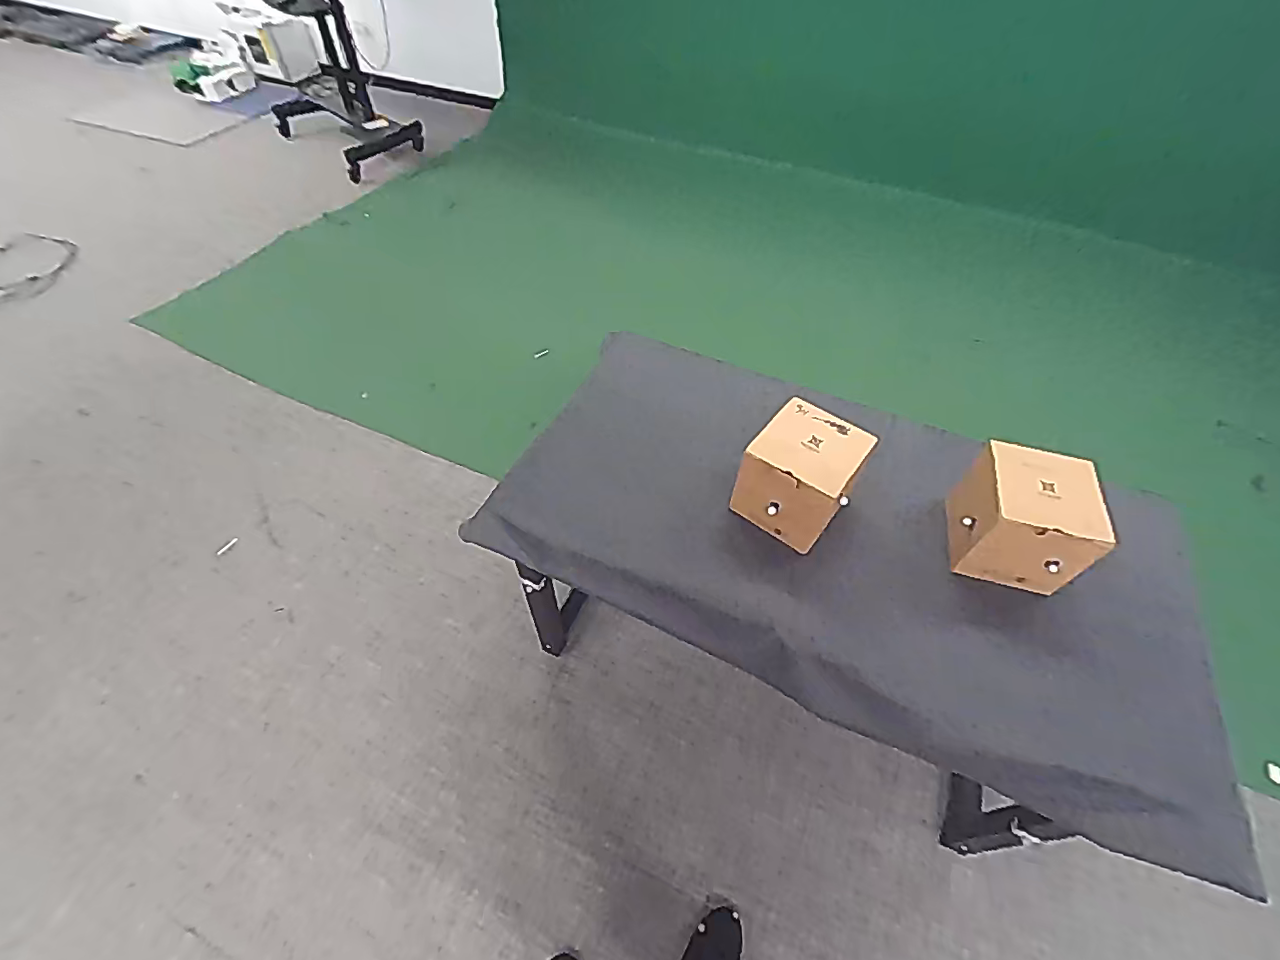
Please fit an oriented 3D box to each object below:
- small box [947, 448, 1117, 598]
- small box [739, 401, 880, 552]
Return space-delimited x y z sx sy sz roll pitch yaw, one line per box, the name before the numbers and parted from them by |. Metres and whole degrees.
small box | 0.654 0.078 0.929 0.168 0.176 0.179 15 51 8
small box | 0.294 -0.002 0.975 0.168 0.176 0.179 34 58 22
